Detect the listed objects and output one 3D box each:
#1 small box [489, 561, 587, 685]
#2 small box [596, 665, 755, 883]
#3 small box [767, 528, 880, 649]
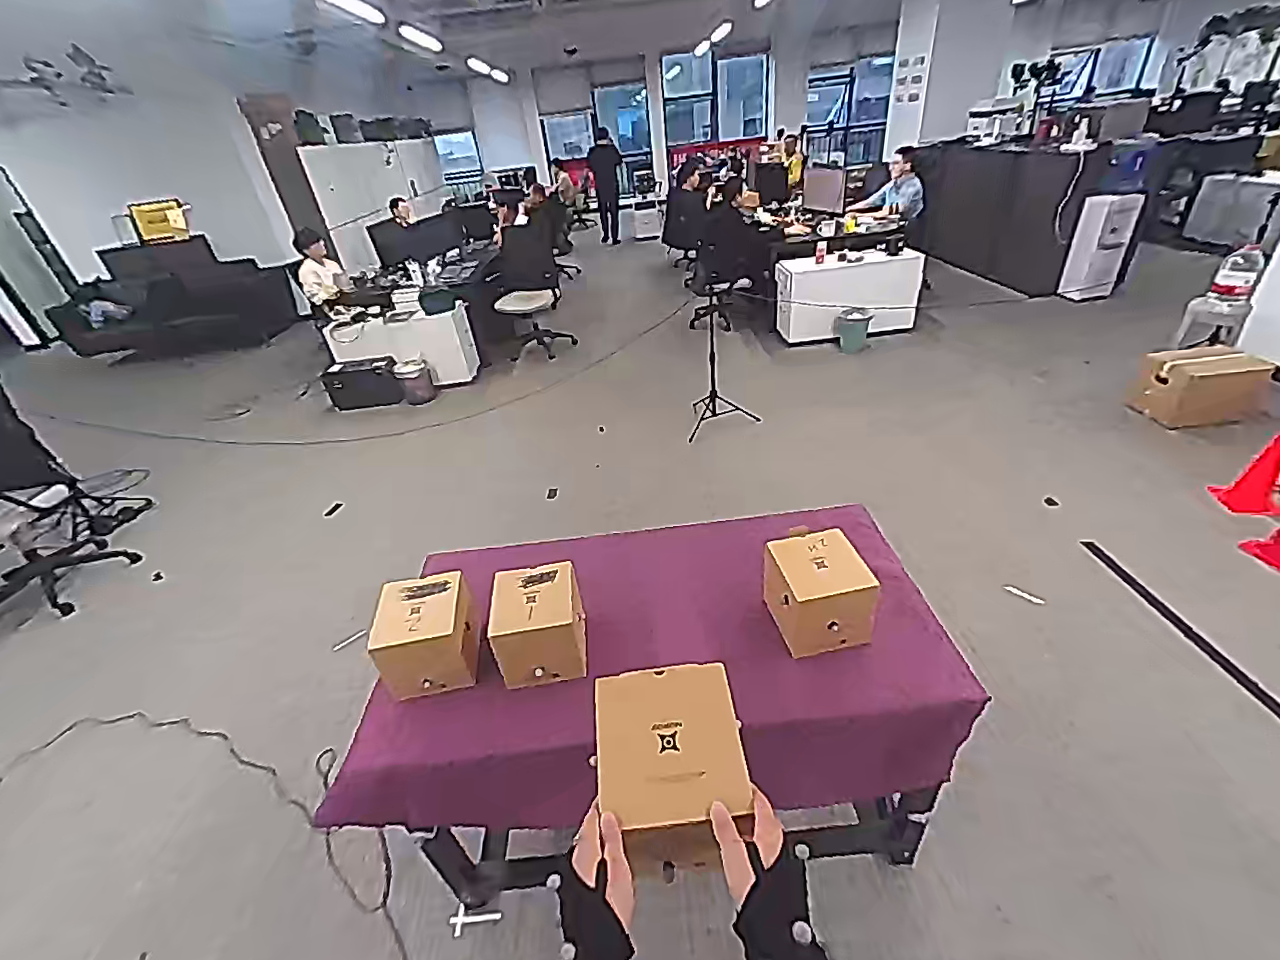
[{"bbox_3d":[-0.206,0.298,1.134,0.168,0.176,0.179,-9,34,-2],"label":"small box"},{"bbox_3d":[0.036,0.355,0.659,0.168,0.176,0.179,-7,39,0],"label":"small box"},{"bbox_3d":[0.371,0.229,1.121,0.168,0.176,0.179,-10,33,-4],"label":"small box"}]
